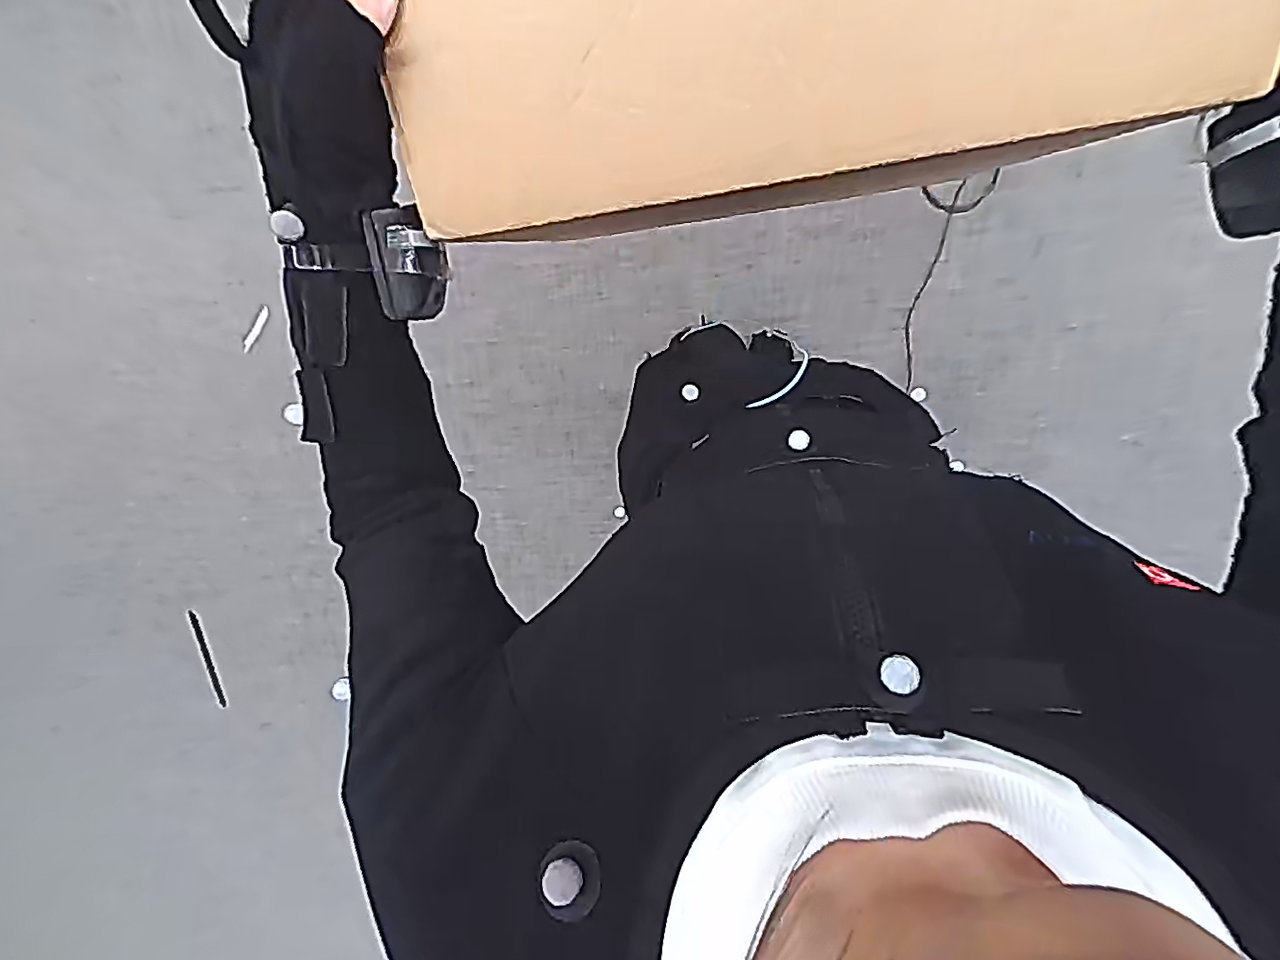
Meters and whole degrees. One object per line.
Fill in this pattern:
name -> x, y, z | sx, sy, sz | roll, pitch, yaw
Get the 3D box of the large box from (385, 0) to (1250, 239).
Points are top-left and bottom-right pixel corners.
large box -> 0.073, -0.364, 0.363 | 0.408, 0.320, 0.320 | -5, 113, 10
